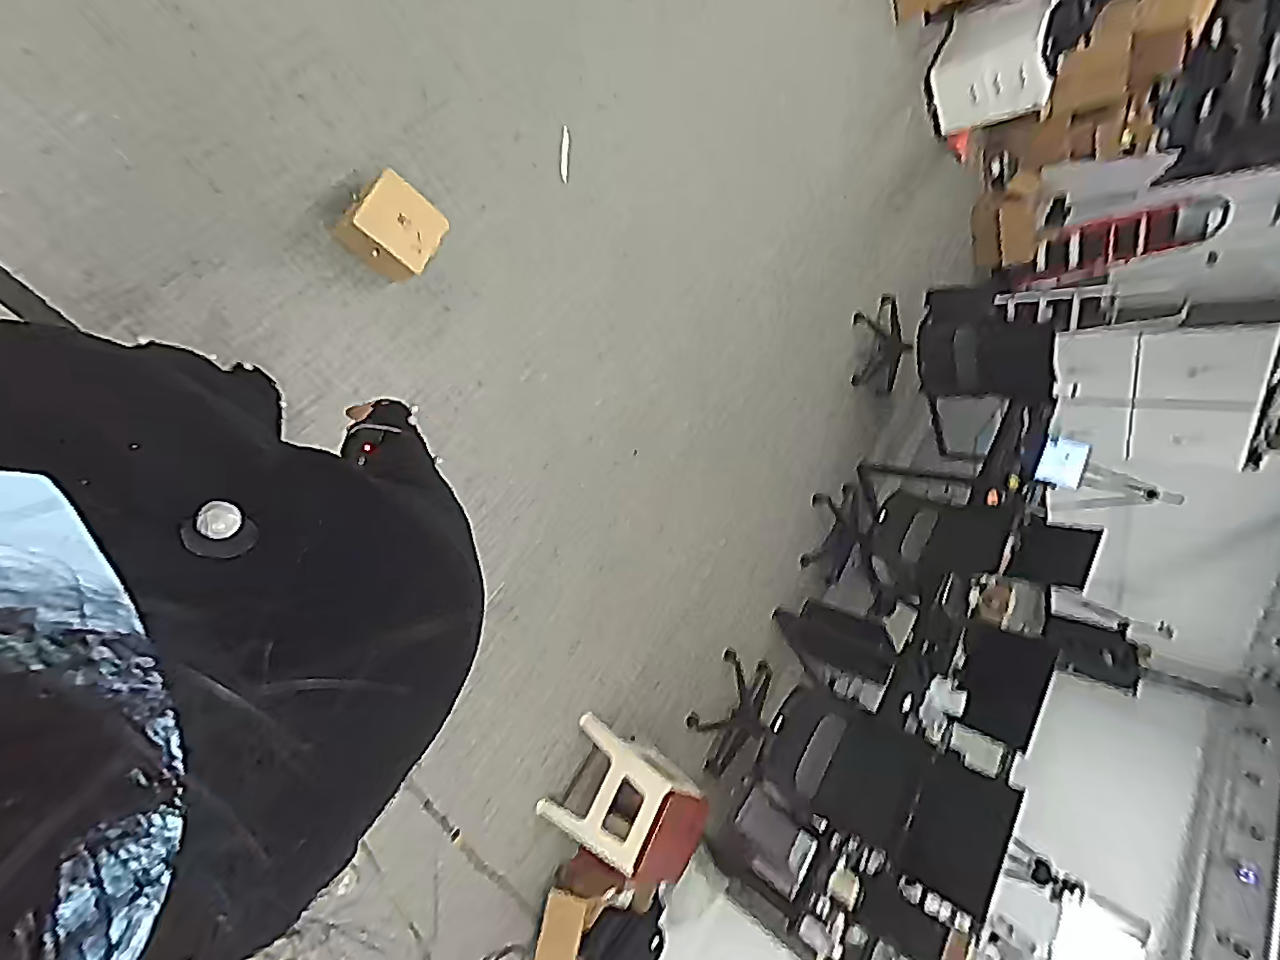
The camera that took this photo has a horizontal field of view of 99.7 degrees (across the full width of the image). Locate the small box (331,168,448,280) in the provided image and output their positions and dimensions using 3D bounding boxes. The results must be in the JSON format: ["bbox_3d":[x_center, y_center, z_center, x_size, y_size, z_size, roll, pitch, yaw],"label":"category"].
[{"bbox_3d":[-0.614,-0.612,1.320,0.179,0.176,0.168,38,71,-42],"label":"small box"}]
